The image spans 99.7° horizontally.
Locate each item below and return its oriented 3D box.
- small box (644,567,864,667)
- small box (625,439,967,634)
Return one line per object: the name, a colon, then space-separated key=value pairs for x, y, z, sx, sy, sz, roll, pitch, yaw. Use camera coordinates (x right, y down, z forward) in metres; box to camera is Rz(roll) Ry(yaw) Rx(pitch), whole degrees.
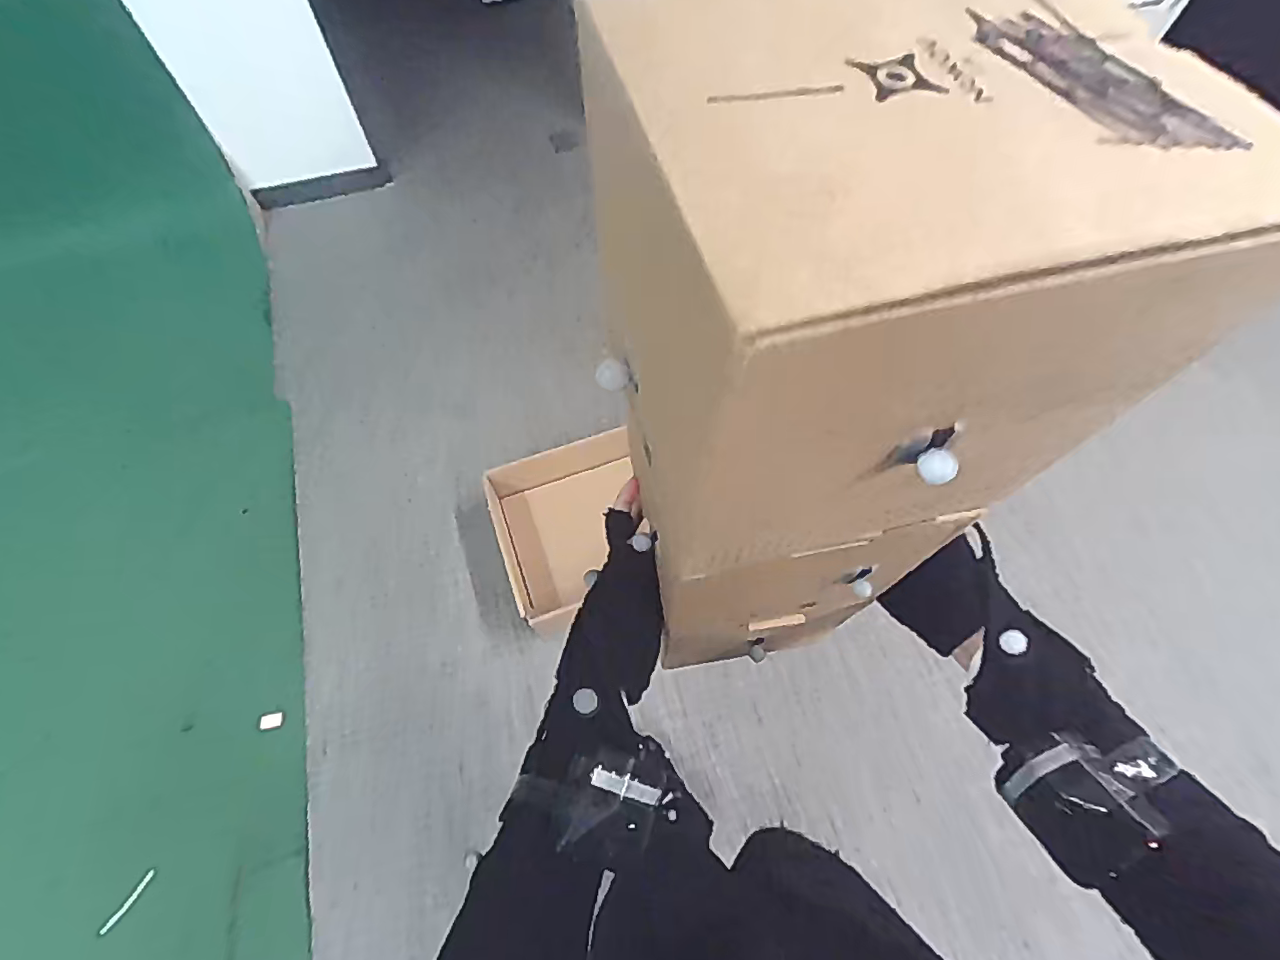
small box: x=0.088 y=0.078 z=0.532 sx=0.168 sy=0.176 sz=0.179 roll=-9 pitch=62 yaw=-4
small box: x=0.081 y=0.001 z=0.388 sx=0.168 sy=0.176 sz=0.179 roll=-9 pitch=61 yaw=-5
